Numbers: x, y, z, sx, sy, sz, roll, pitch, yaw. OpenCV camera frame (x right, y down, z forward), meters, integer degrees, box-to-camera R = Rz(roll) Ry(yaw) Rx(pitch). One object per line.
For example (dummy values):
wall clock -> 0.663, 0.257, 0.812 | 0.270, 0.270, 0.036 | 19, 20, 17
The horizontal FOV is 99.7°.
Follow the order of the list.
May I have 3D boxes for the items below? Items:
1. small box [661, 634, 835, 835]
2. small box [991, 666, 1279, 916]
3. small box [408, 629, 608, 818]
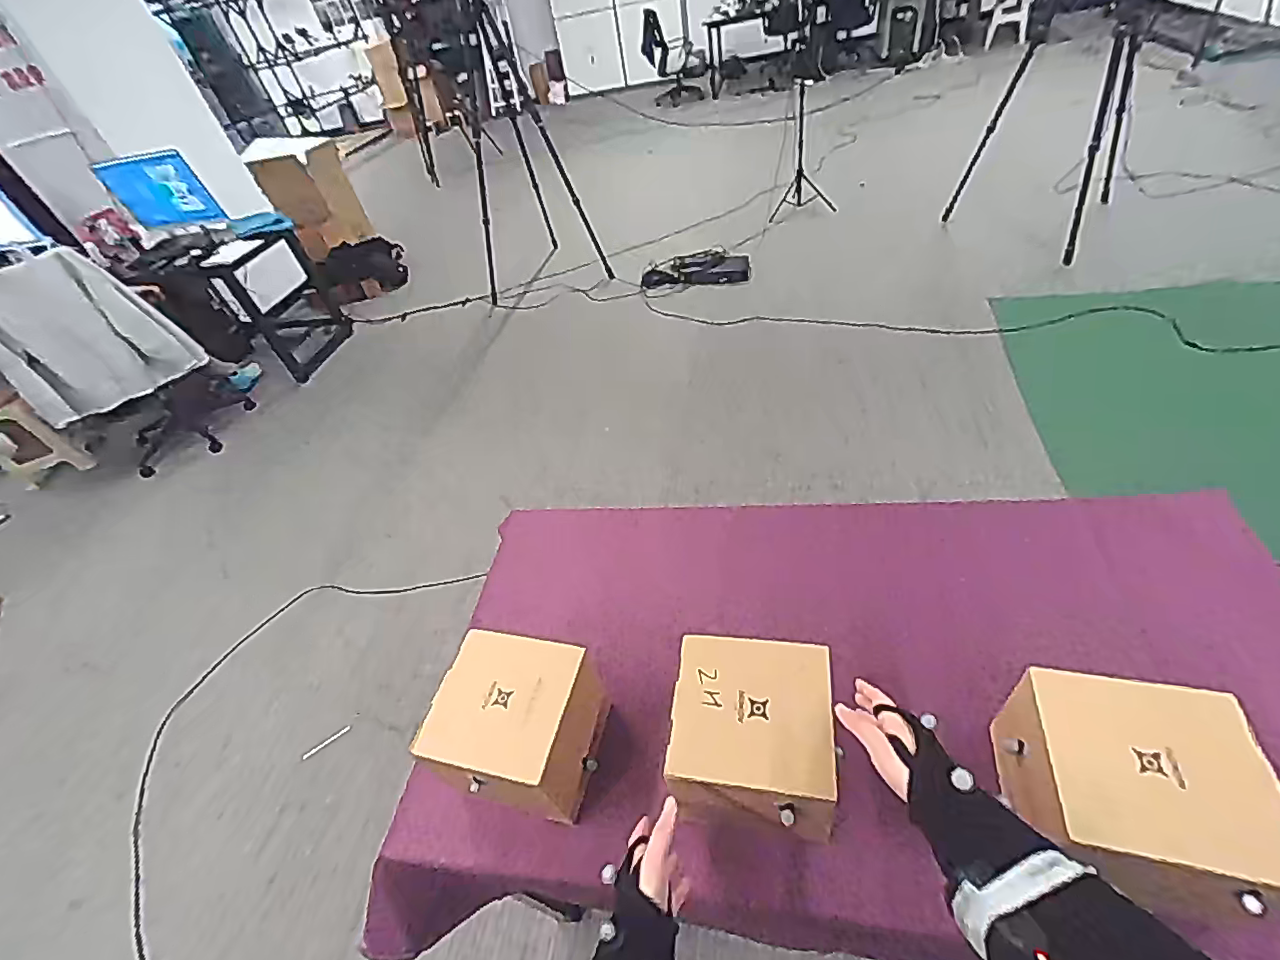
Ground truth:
small box -> 0.134, 0.309, 0.655 | 0.179, 0.176, 0.168 | 0, 45, 15
small box -> 0.485, 0.318, 0.557 | 0.179, 0.176, 0.168 | 4, 47, 17
small box -> -0.160, 0.323, 0.718 | 0.179, 0.176, 0.168 | 4, 47, 17
